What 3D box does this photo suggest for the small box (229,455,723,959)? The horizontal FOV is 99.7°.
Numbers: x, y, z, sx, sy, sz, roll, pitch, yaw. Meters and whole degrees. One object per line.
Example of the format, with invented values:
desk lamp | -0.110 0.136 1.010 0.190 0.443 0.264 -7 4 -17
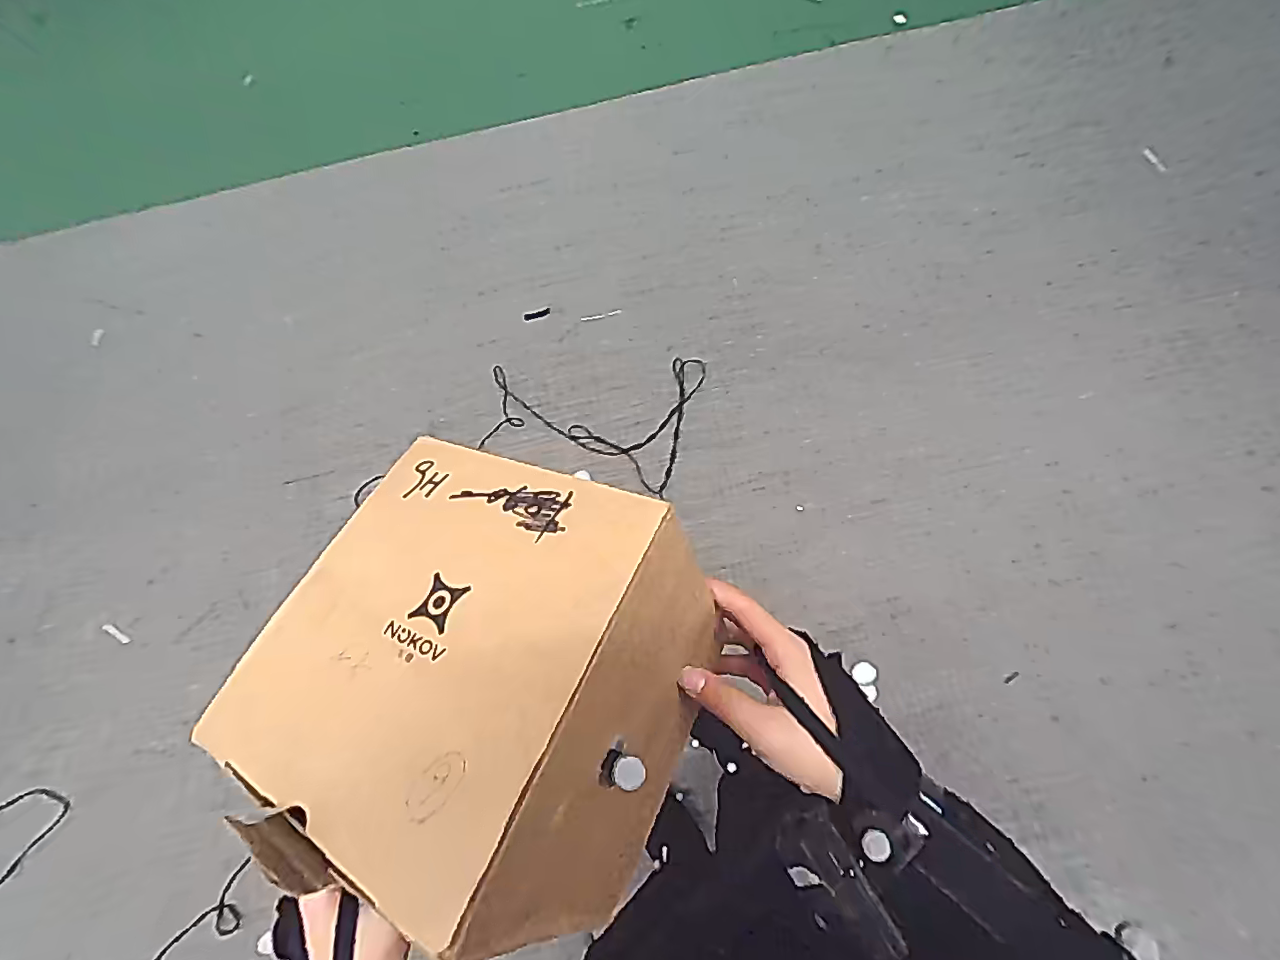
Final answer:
small box | -0.064 0.116 0.310 0.168 0.176 0.179 15 62 28
